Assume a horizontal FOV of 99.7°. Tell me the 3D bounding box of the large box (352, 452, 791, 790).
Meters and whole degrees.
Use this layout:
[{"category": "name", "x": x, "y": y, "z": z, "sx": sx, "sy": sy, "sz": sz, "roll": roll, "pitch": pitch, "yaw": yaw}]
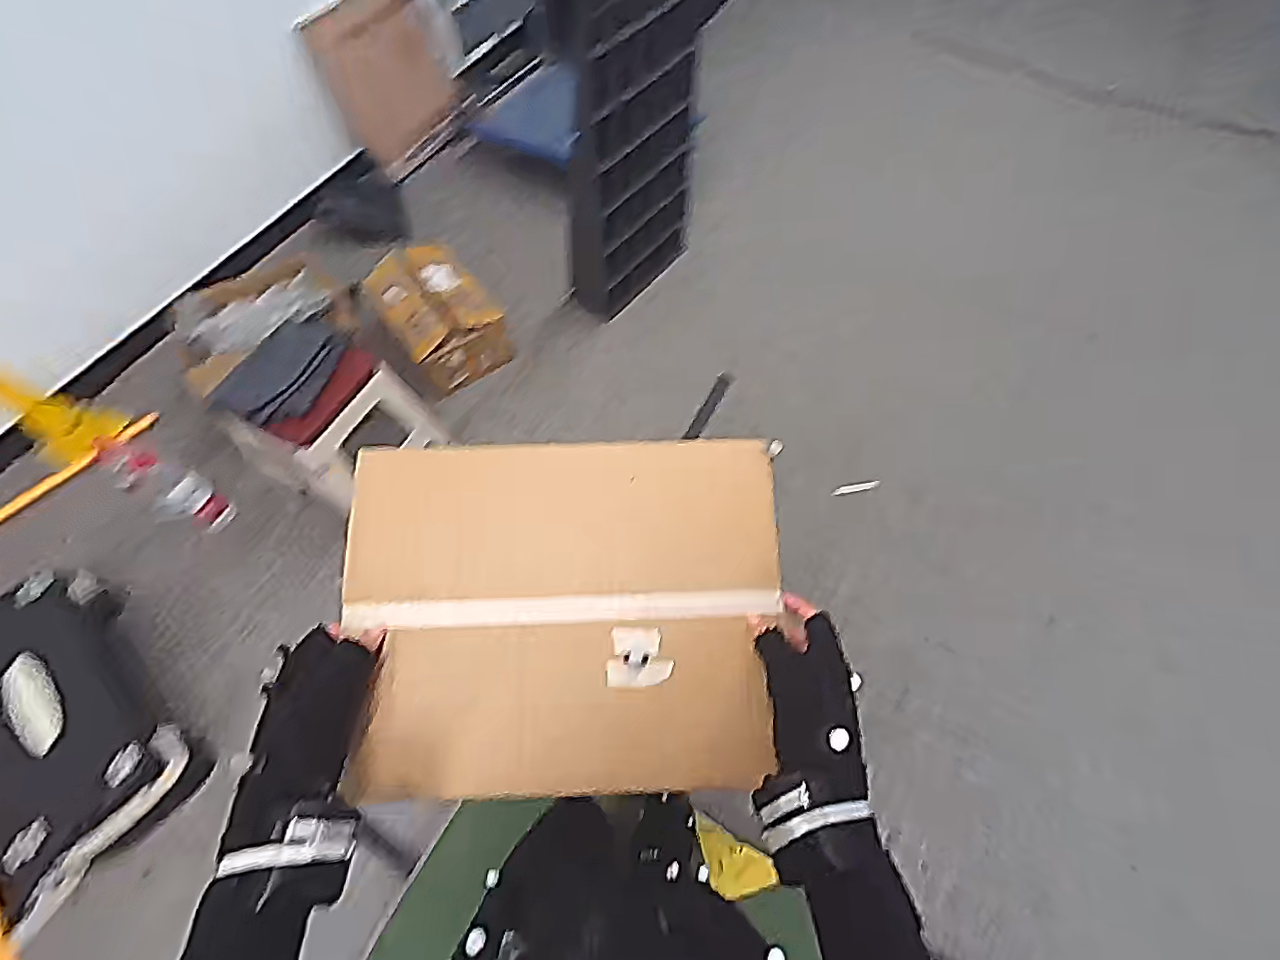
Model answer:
[{"category": "large box", "x": -0.068, "y": 0.159, "z": 0.665, "sx": 0.408, "sy": 0.320, "sz": 0.320, "roll": 0, "pitch": 77, "yaw": -1}]
